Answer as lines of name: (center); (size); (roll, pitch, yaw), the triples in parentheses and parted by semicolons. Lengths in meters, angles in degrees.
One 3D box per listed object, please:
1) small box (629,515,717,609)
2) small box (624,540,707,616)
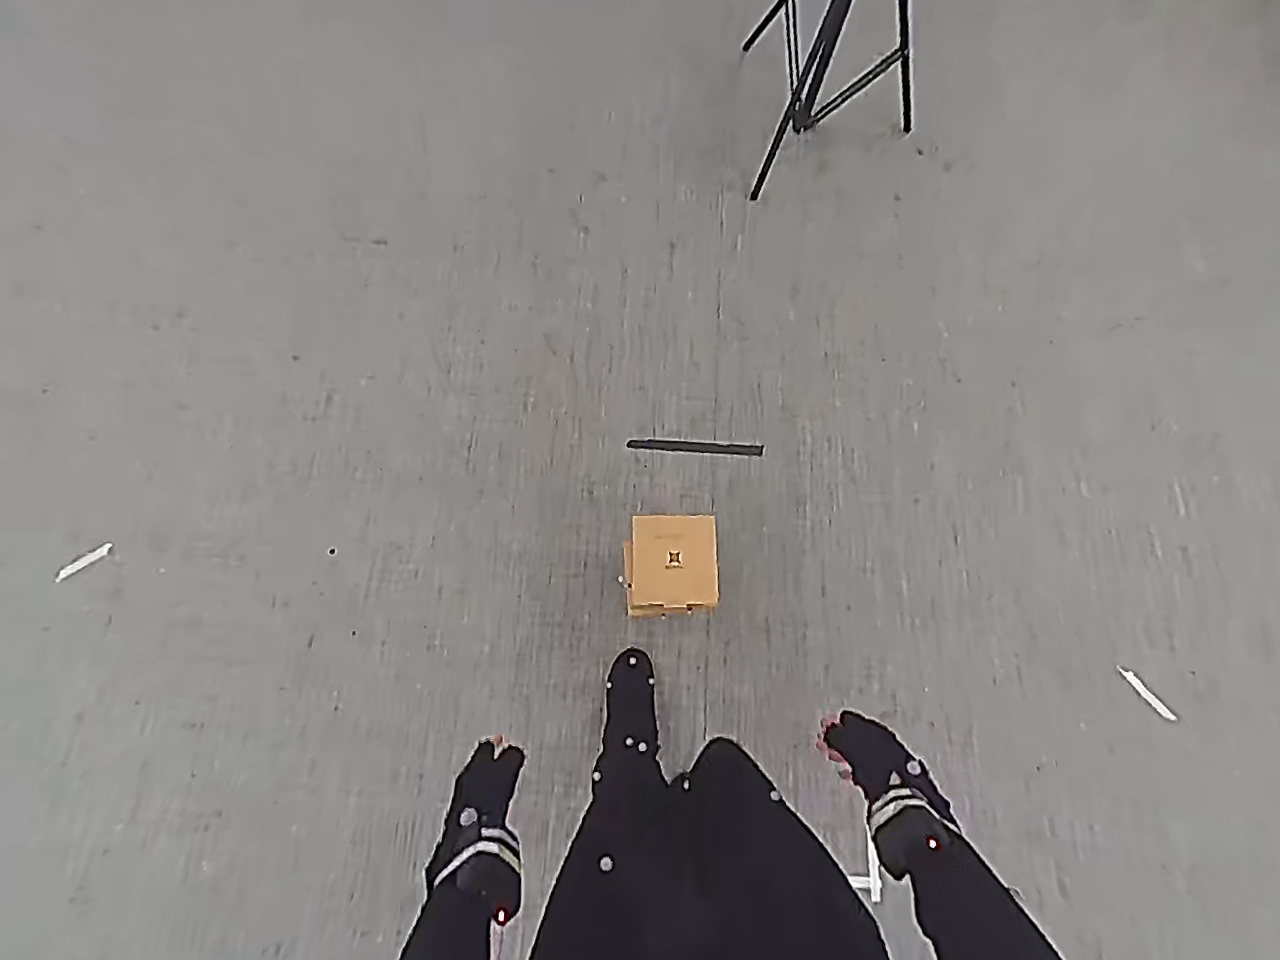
small box: (0.063, 0.174, 1.111); (0.168, 0.176, 0.179); (0, 74, -3)
small box: (0.053, 0.229, 1.265); (0.179, 0.176, 0.168); (-4, 75, -2)
